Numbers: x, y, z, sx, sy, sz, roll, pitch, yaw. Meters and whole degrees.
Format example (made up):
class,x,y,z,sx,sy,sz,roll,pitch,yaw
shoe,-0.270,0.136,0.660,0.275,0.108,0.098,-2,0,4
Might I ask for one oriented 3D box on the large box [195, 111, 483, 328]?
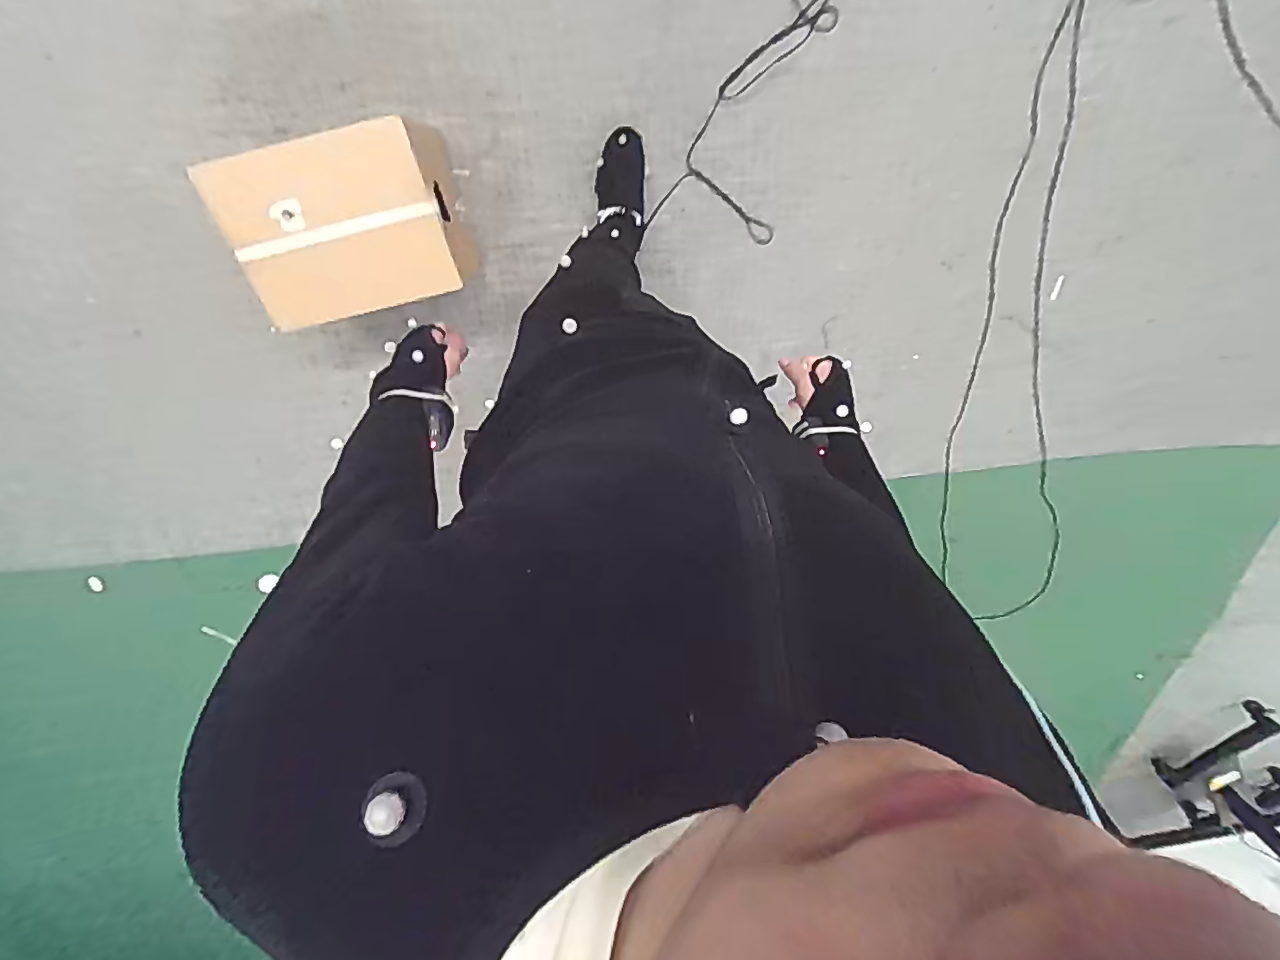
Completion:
class,x,y,z,sx,sy,sz,roll,pitch,yaw
large box,-0.609,-0.571,1.187,0.408,0.320,0.320,-14,120,1
